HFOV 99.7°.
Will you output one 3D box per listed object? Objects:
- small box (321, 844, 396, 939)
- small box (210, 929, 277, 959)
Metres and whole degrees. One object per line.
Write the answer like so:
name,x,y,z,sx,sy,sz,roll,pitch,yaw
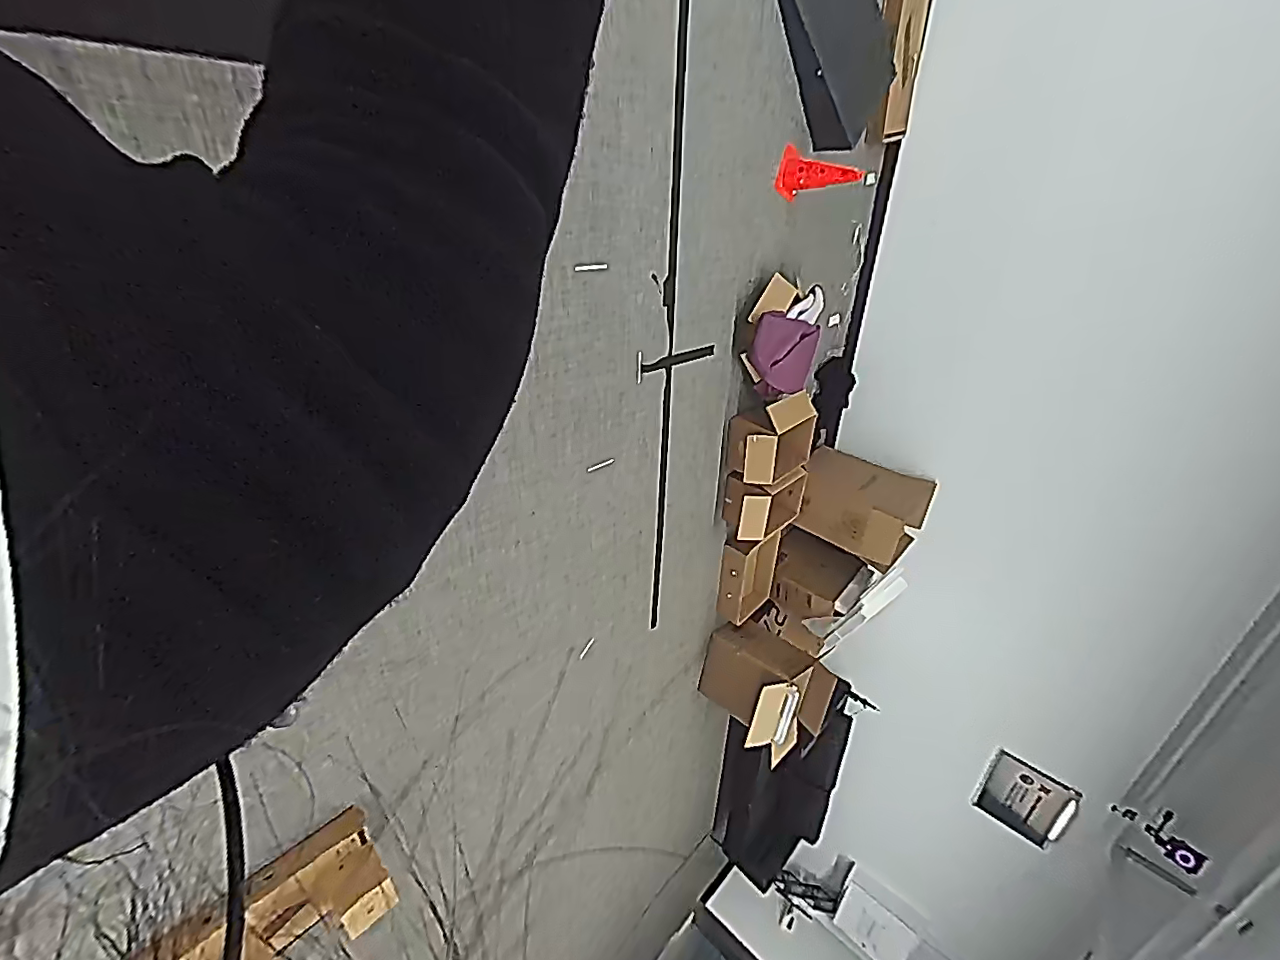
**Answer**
small box,-0.980,1.424,1.882,0.168,0.176,0.179,-26,130,-40
small box,-1.222,1.540,1.658,0.168,0.176,0.179,-28,131,-39
